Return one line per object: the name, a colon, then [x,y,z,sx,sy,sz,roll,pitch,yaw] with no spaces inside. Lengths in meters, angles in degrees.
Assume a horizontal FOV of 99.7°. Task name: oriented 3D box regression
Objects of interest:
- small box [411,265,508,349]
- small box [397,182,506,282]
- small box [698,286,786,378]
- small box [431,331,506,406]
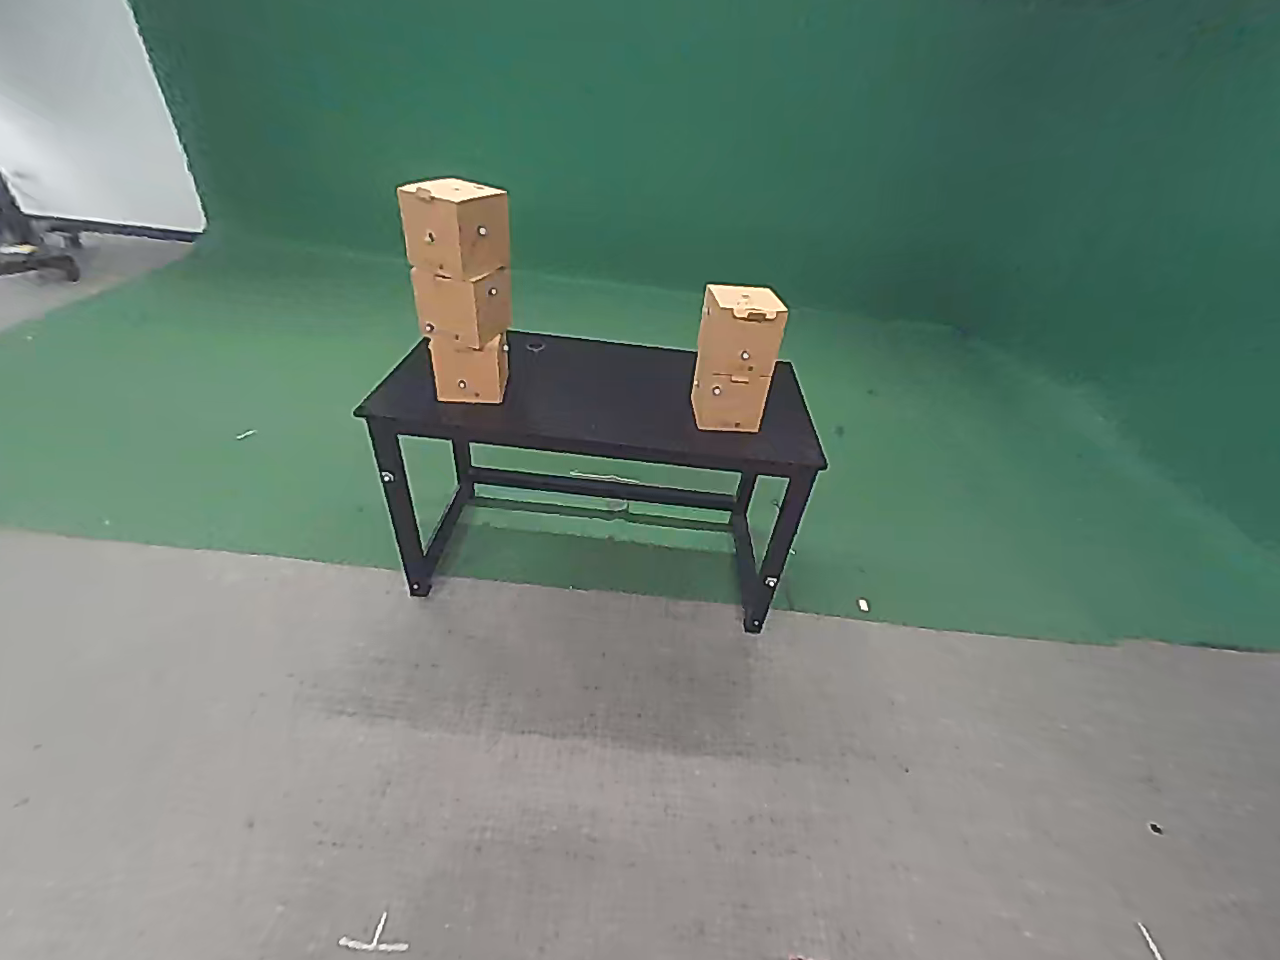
small box: [-0.444,-0.448,1.363,0.168,0.176,0.179,15,38,9]
small box: [-0.430,-0.581,1.268,0.168,0.176,0.179,22,42,17]
small box: [0.249,-0.375,1.370,0.168,0.176,0.179,1,38,-6]
small box: [-0.456,-0.319,1.464,0.168,0.176,0.179,2,39,-8]
